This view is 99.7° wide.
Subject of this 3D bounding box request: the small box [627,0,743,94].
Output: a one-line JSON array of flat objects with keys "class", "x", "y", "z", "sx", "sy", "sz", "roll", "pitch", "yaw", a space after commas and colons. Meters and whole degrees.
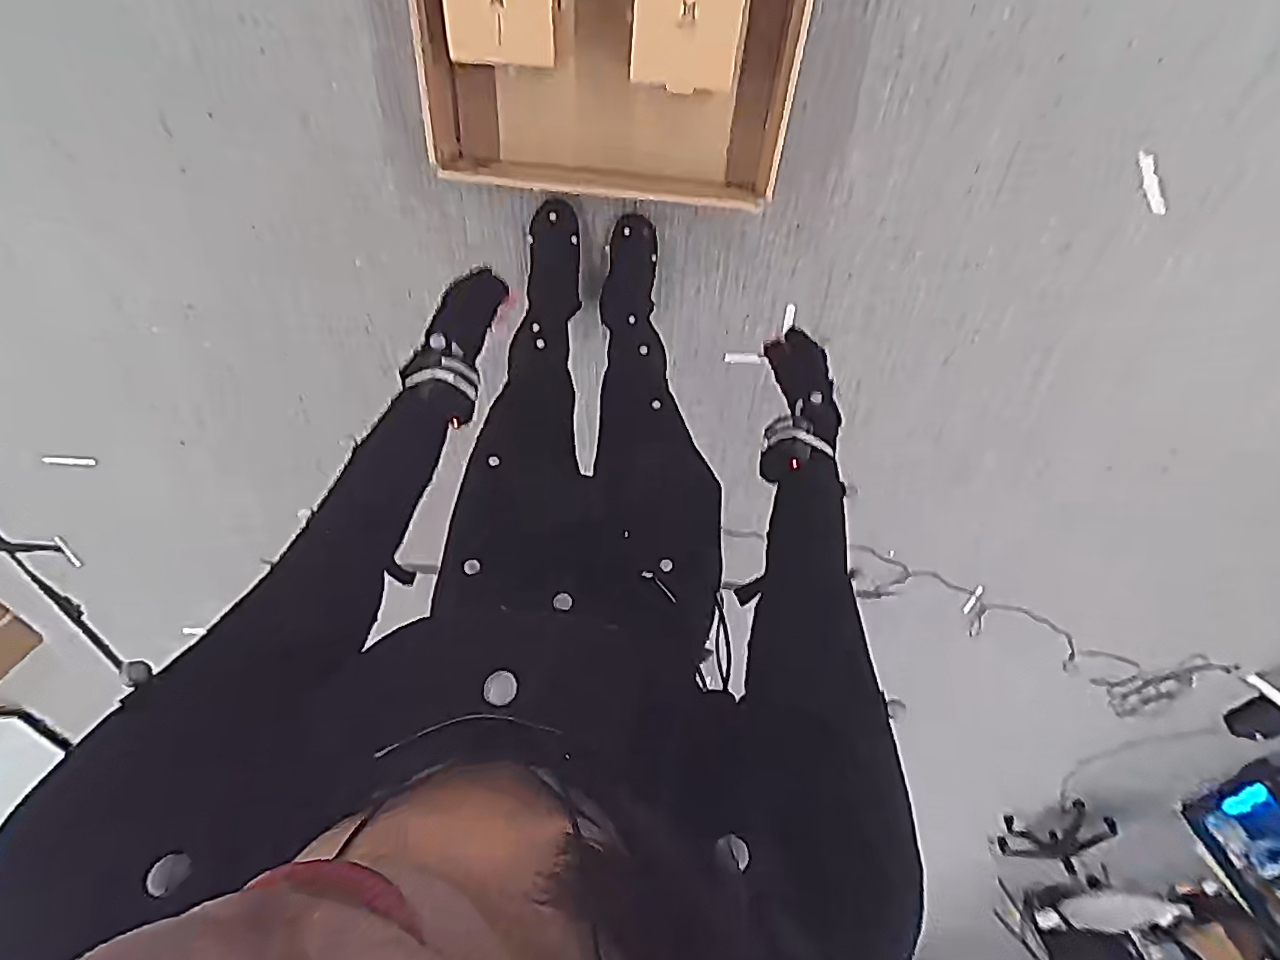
[{"class": "small box", "x": 0.071, "y": -0.746, "z": 0.872, "sx": 0.168, "sy": 0.176, "sz": 0.179, "roll": 5, "pitch": 129, "yaw": -3}]
